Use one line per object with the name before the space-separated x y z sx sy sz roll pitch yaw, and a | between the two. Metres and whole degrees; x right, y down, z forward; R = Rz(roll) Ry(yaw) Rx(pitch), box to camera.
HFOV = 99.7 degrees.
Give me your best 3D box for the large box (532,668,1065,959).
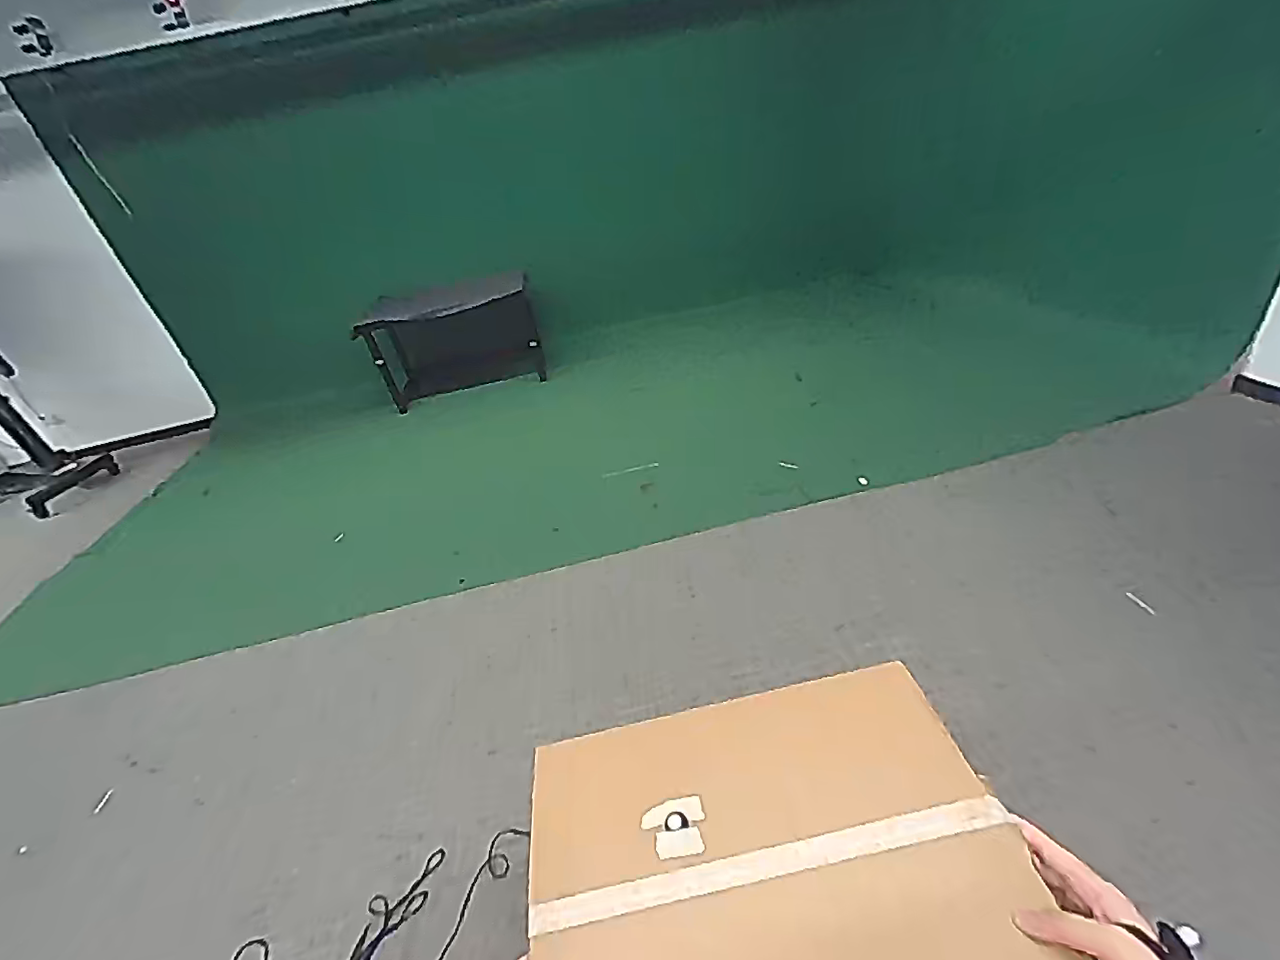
large box | 0.134 0.455 0.551 0.408 0.320 0.320 -15 34 2
